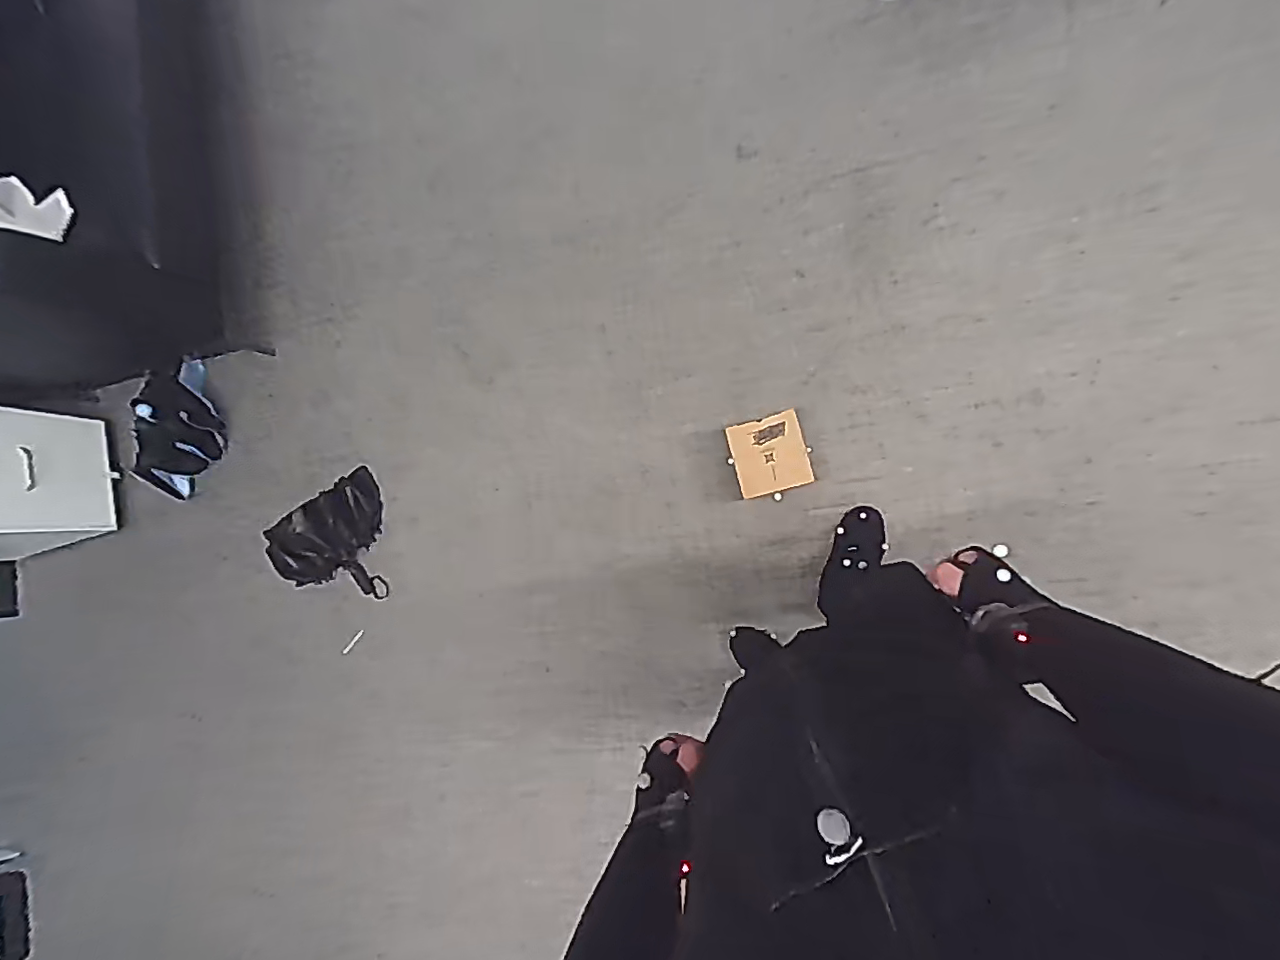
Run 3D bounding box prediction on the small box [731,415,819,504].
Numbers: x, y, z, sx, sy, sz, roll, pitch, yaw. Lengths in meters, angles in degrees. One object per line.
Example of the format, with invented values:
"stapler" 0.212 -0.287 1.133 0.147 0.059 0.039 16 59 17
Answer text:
"small box" 0.326 -0.042 1.317 0.168 0.176 0.179 -15 83 14
